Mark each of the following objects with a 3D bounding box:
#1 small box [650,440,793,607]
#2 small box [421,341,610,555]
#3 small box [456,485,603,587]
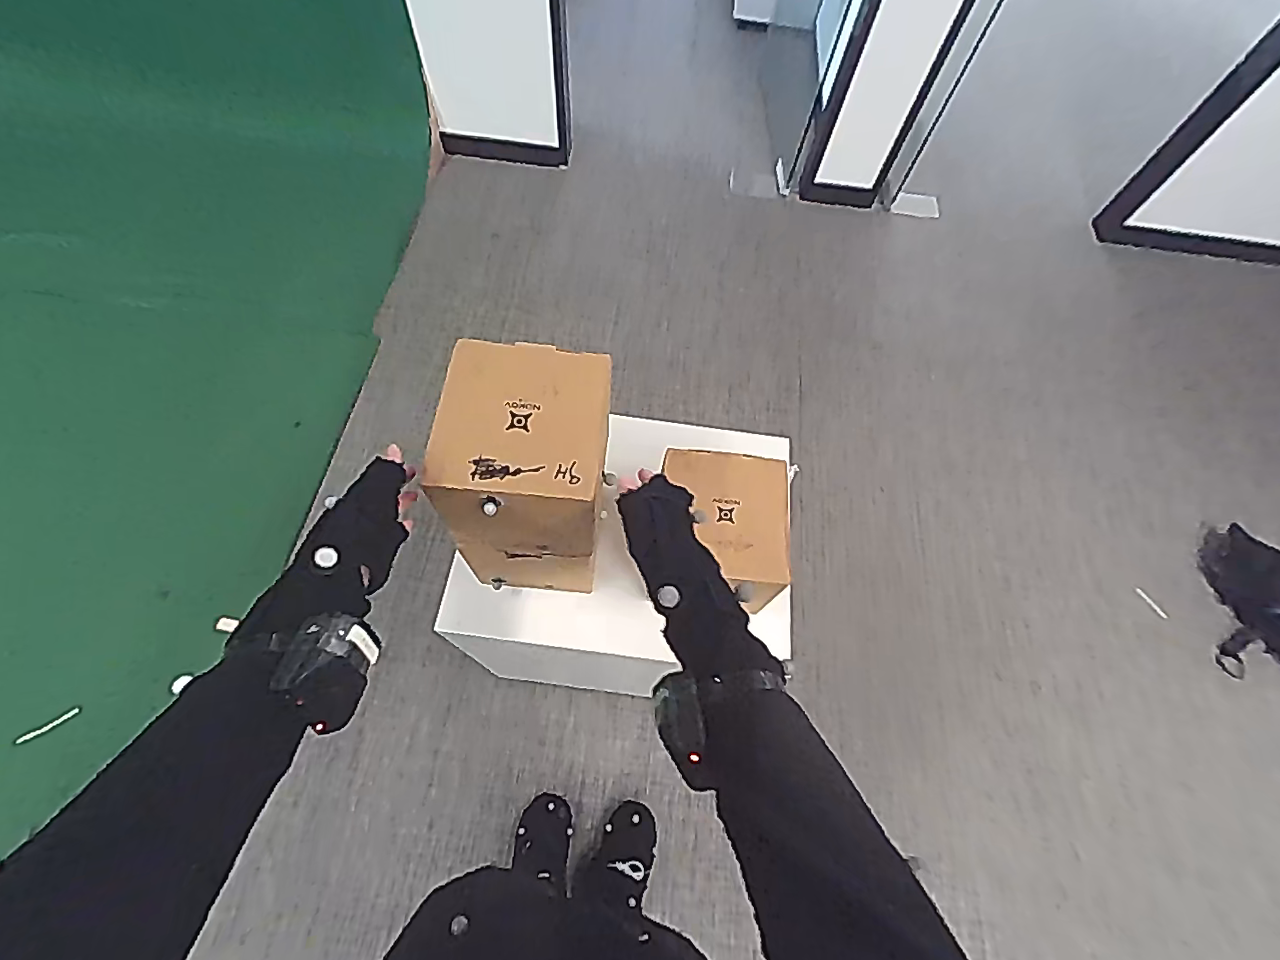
[{"bbox_3d":[0.104,0.067,0.750,0.168,0.176,0.179,5,65,0],"label":"small box"},{"bbox_3d":[-0.126,-0.029,0.616,0.168,0.176,0.179,5,64,-2],"label":"small box"},{"bbox_3d":[-0.141,0.042,0.760,0.168,0.176,0.179,5,63,-2],"label":"small box"}]
